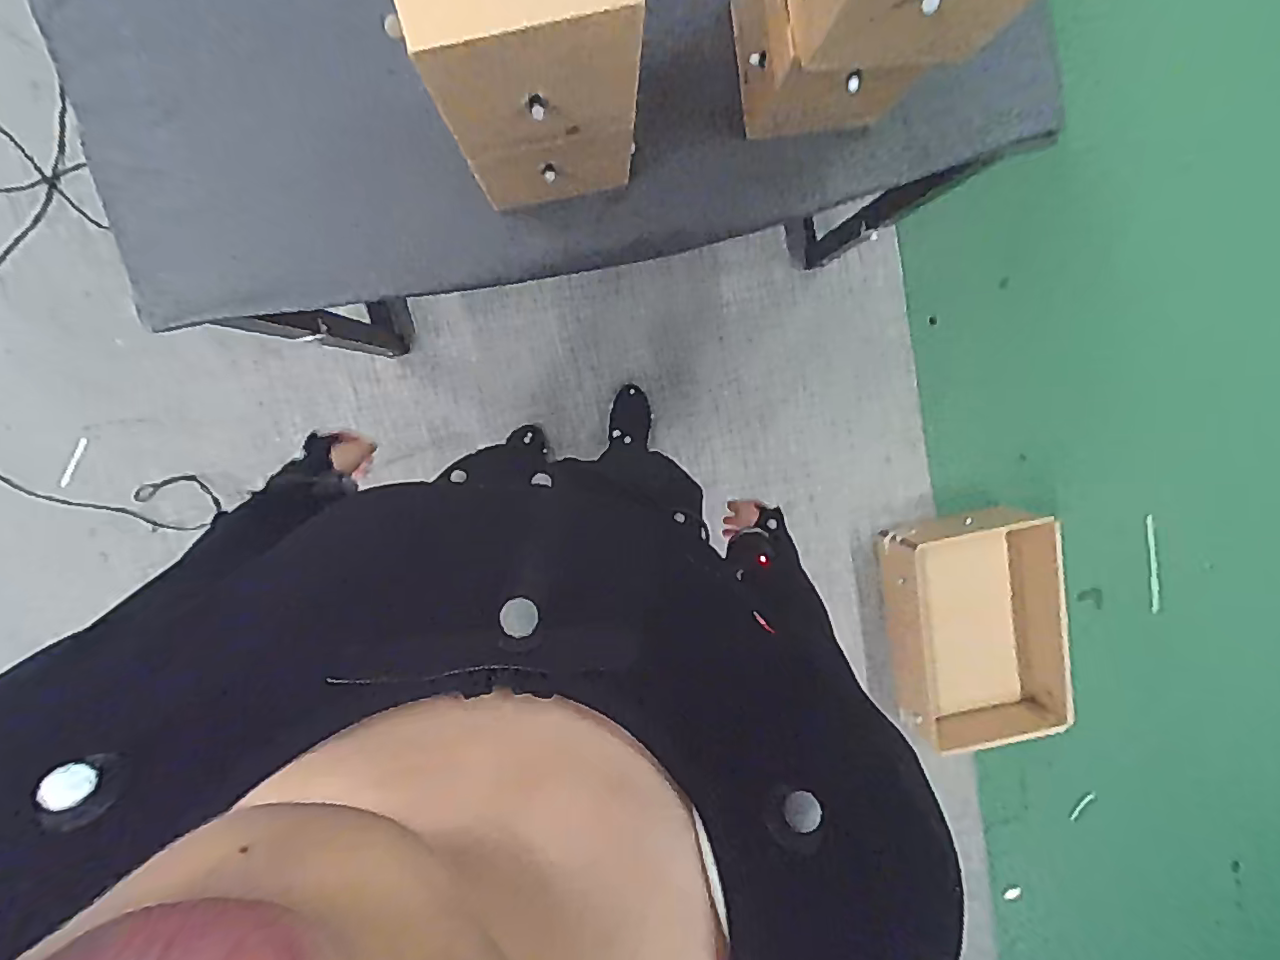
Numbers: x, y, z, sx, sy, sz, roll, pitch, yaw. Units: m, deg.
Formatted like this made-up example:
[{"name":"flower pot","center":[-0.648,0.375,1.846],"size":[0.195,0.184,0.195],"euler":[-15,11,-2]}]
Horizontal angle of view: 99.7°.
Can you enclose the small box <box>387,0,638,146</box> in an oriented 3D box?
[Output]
[{"name":"small box","center":[-0.100,-0.392,0.421],"size":[0.168,0.176,0.179],"euler":[-14,98,-2]}]

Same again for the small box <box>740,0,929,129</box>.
[{"name":"small box","center":[0.216,-0.518,0.595],"size":[0.179,0.176,0.168],"euler":[-10,99,-4]}]

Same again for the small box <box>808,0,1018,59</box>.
[{"name":"small box","center":[0.243,-0.480,0.436],"size":[0.179,0.176,0.168],"euler":[-6,99,-3]}]

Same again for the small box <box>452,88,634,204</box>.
[{"name":"small box","center":[-0.110,-0.424,0.583],"size":[0.179,0.176,0.168],"euler":[-12,98,-1]}]
